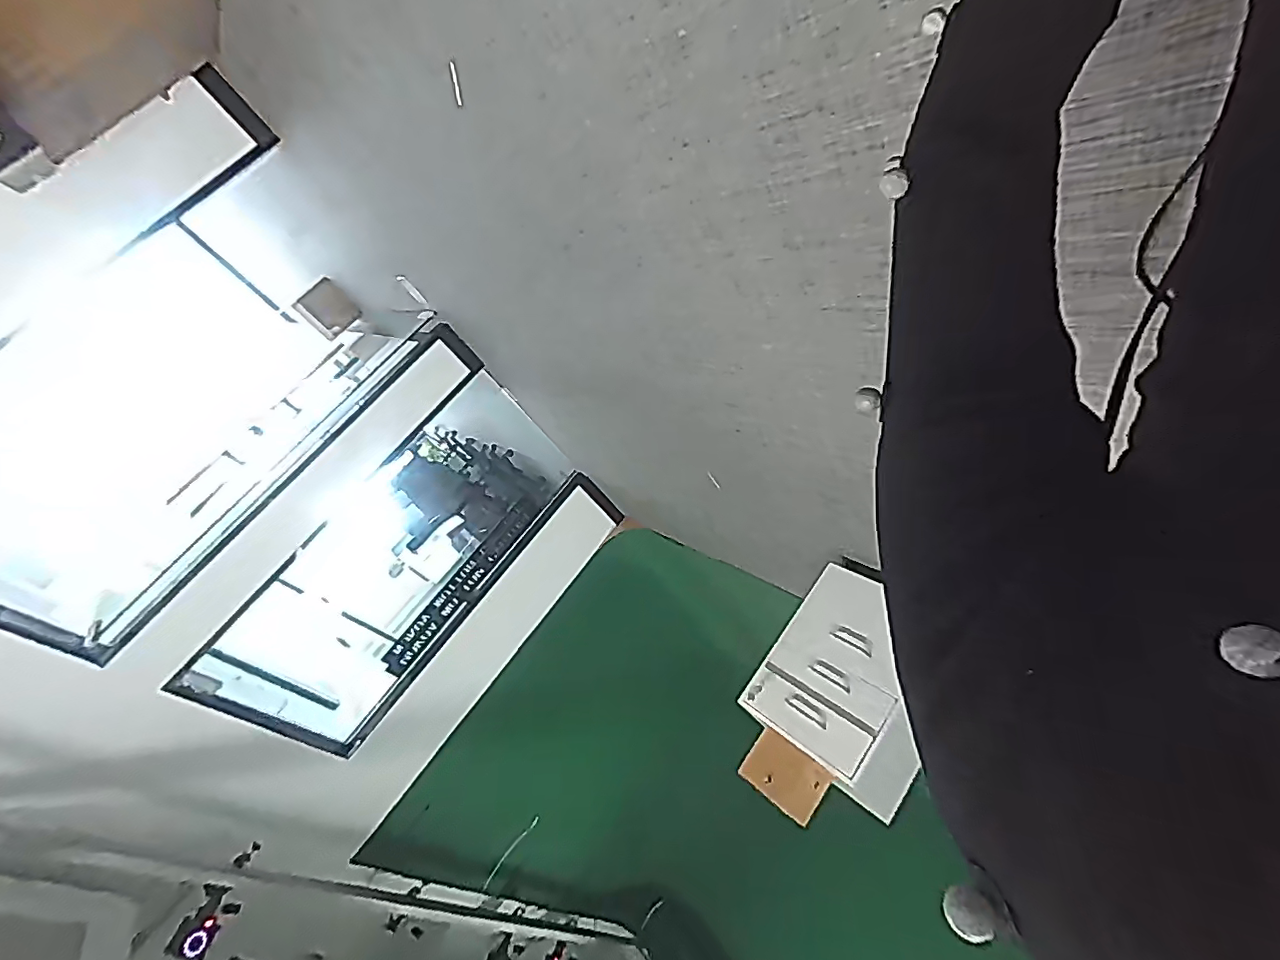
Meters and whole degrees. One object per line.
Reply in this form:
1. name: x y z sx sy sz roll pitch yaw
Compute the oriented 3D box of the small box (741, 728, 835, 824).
1. small box: 0.440 0.865 1.601 0.179 0.176 0.168 19 155 53
